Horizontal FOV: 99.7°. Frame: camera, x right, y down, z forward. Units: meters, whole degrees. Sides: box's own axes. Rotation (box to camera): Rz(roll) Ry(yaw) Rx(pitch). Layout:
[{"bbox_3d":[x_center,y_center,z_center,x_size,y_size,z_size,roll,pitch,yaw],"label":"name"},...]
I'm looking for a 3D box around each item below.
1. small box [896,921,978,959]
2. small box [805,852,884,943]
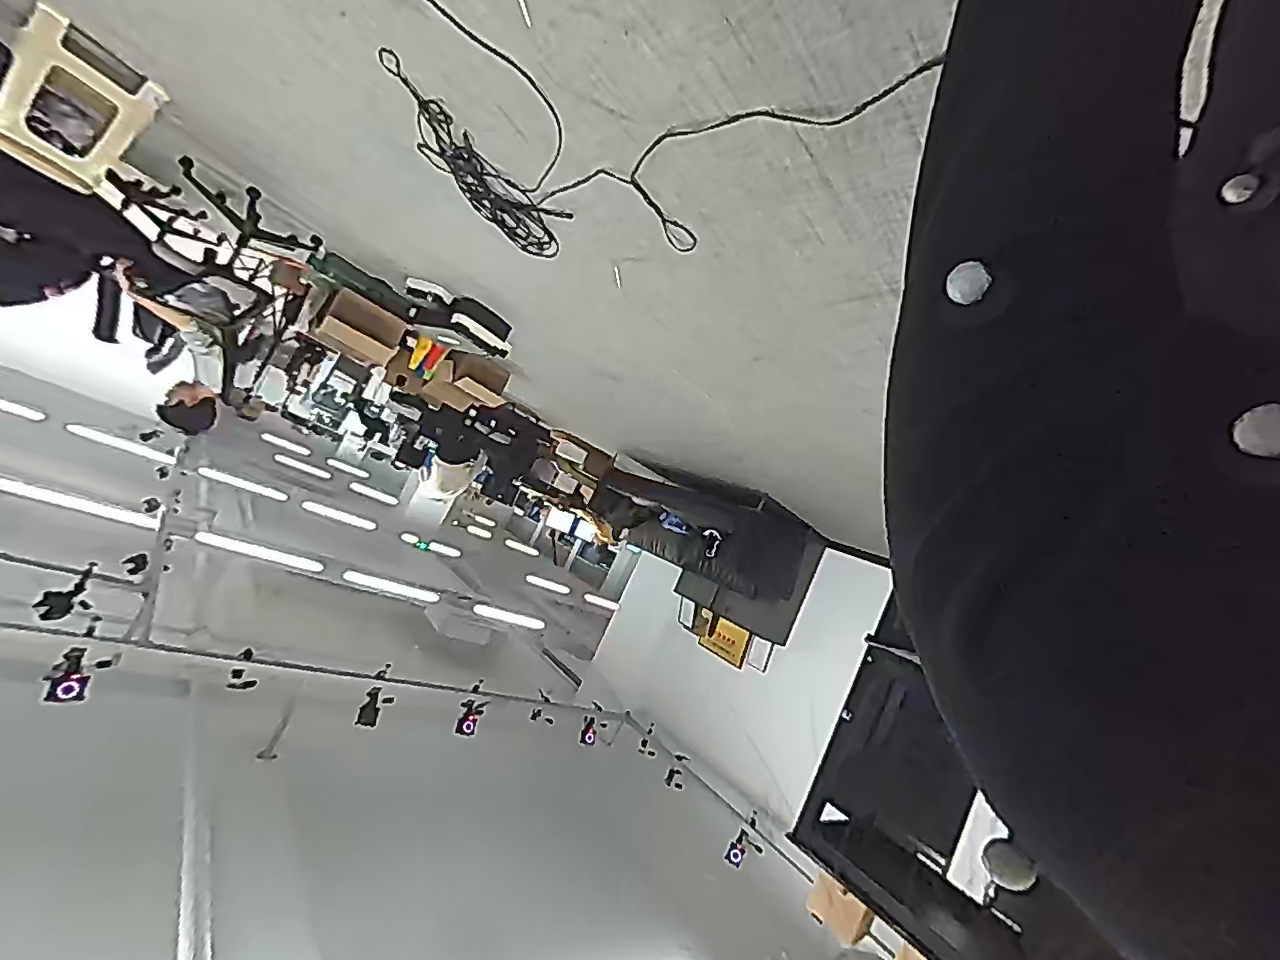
[{"bbox_3d":[0.866,1.441,1.582,0.179,0.176,0.168,28,174,-35],"label":"small box"},{"bbox_3d":[0.690,1.386,1.810,0.168,0.176,0.179,19,171,45],"label":"small box"}]
